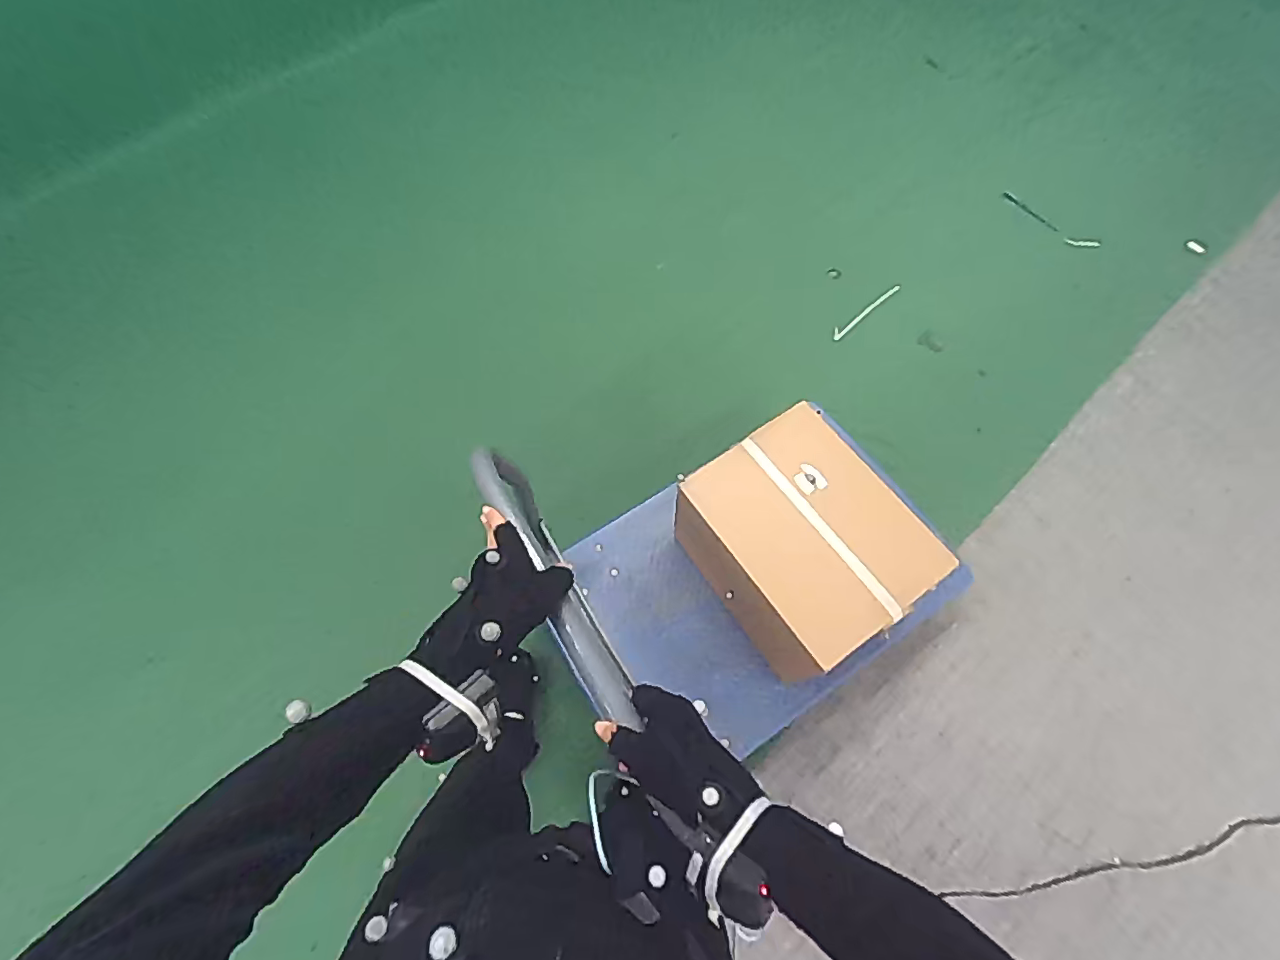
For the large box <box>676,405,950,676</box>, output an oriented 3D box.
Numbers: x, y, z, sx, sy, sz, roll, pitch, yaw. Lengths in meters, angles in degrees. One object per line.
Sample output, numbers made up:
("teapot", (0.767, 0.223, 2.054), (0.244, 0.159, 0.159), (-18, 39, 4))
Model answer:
("large box", (0.313, 0.135, 1.112), (0.320, 0.320, 0.408), (-33, 69, -12))
